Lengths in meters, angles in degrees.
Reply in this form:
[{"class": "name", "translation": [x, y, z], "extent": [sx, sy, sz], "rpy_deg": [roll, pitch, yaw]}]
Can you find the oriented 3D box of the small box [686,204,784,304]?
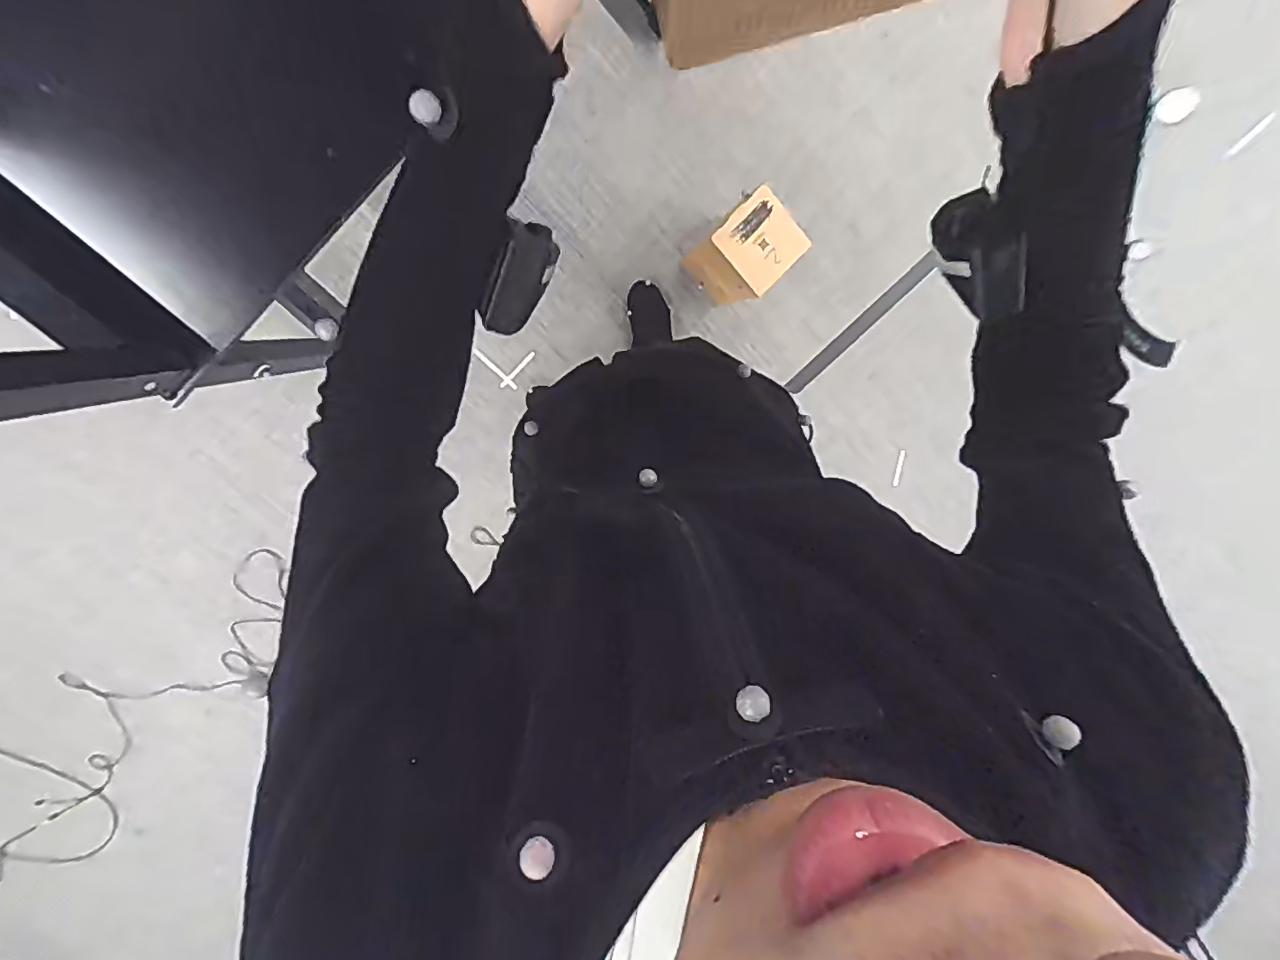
[{"class": "small box", "translation": [0.242, -0.587, 1.430], "extent": [0.168, 0.176, 0.179], "rpy_deg": [42, 98, -15]}]
